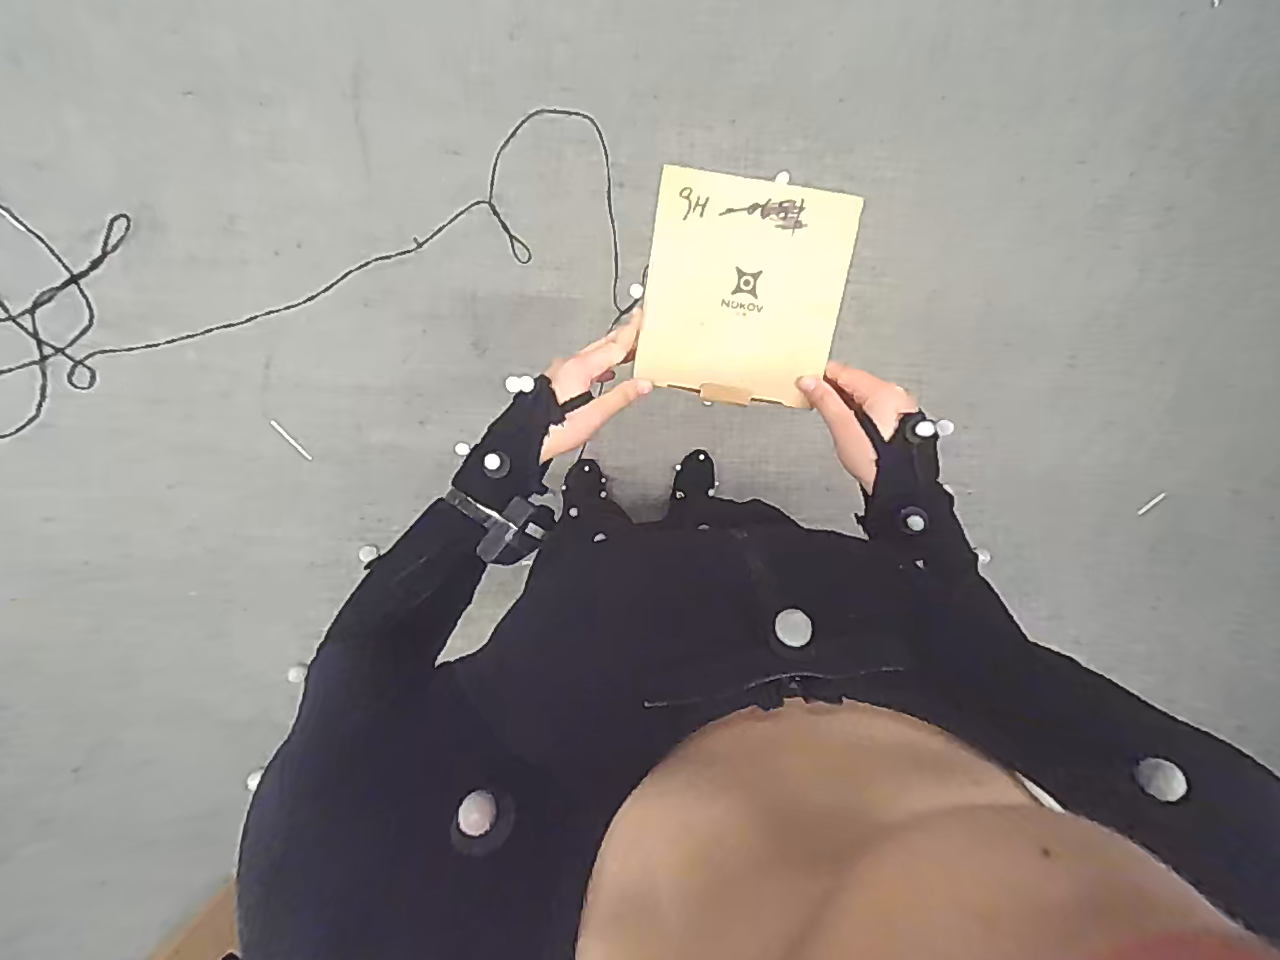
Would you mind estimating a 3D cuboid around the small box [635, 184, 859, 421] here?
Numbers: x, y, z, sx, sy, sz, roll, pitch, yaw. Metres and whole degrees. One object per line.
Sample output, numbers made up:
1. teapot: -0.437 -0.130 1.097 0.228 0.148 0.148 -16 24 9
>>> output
1. small box: 0.090 -0.169 0.542 0.168 0.176 0.179 8 106 -2
